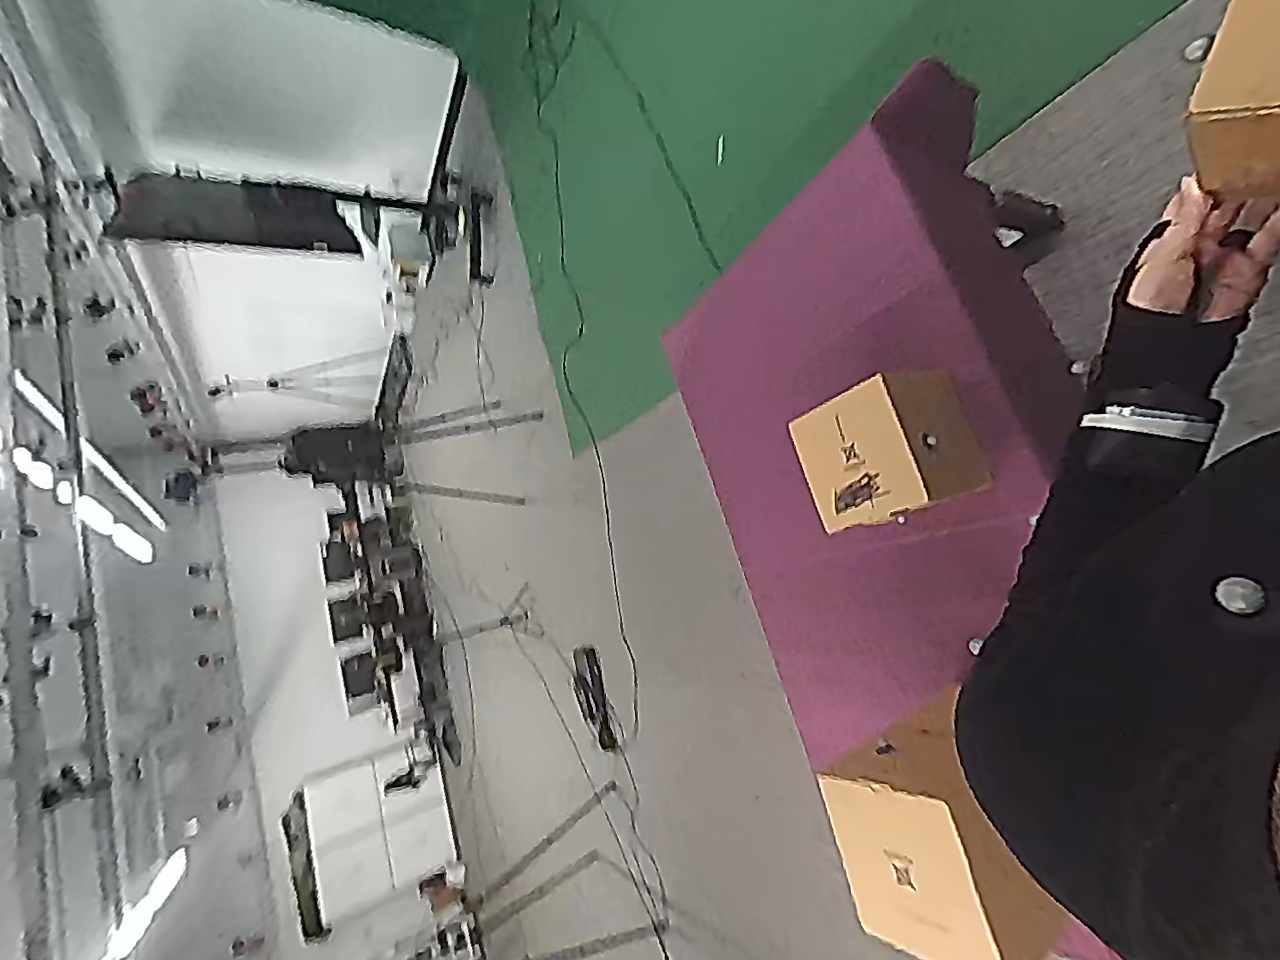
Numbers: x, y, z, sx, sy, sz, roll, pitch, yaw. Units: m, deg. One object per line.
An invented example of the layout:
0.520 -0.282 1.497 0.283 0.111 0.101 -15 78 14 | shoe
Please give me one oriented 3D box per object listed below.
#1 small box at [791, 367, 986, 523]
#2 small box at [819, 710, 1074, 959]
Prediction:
0.358 -0.053 0.784 0.168 0.176 0.179 -32 71 55 | small box
0.344 0.381 0.617 0.168 0.176 0.179 -29 74 56 | small box
